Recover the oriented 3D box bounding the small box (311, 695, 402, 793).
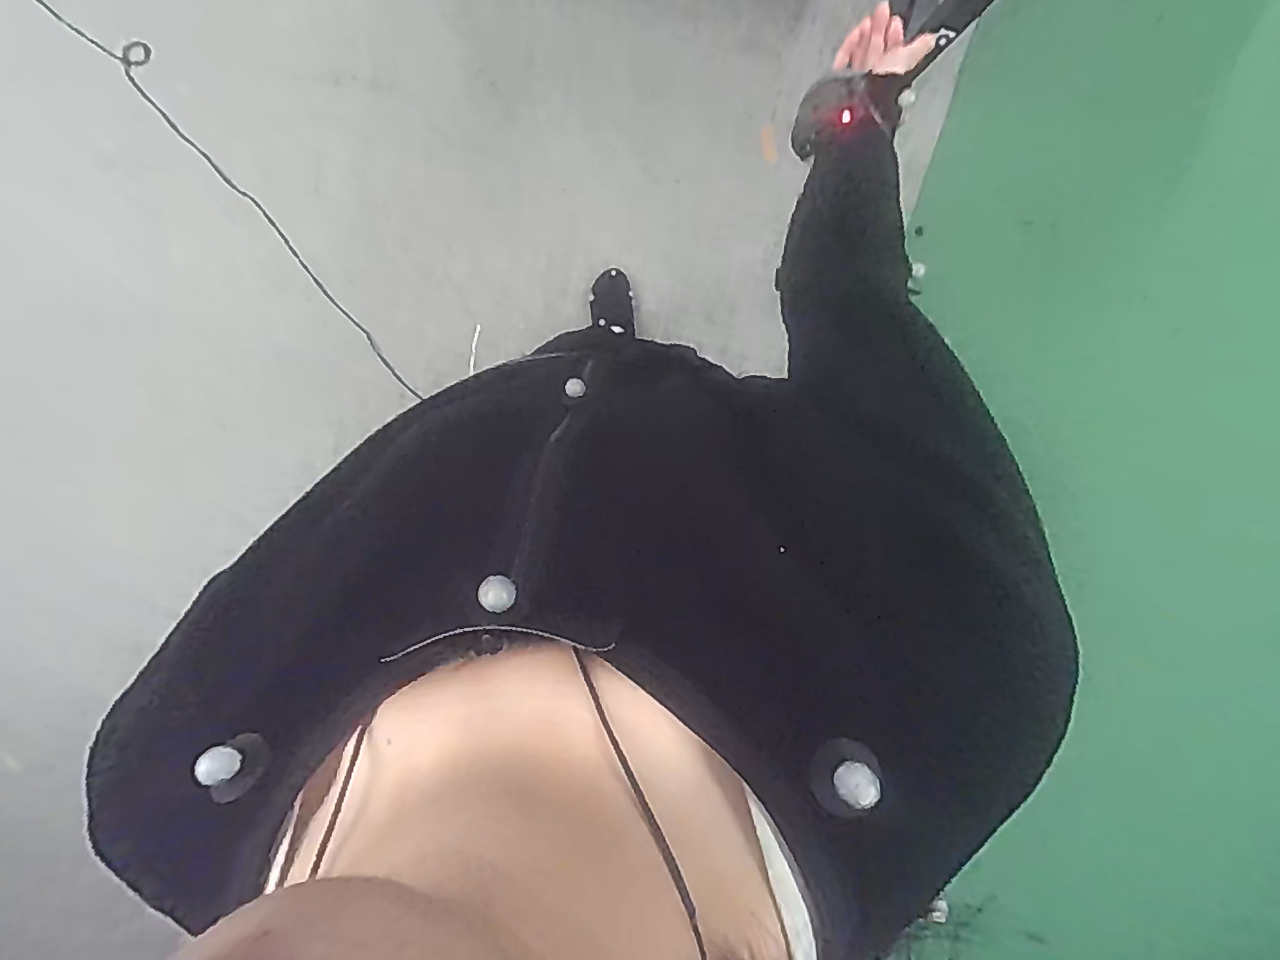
[{"bbox_3d":[-0.838,0.781,1.616,0.168,0.176,0.179,21,104,-3],"label":"small box"}]
